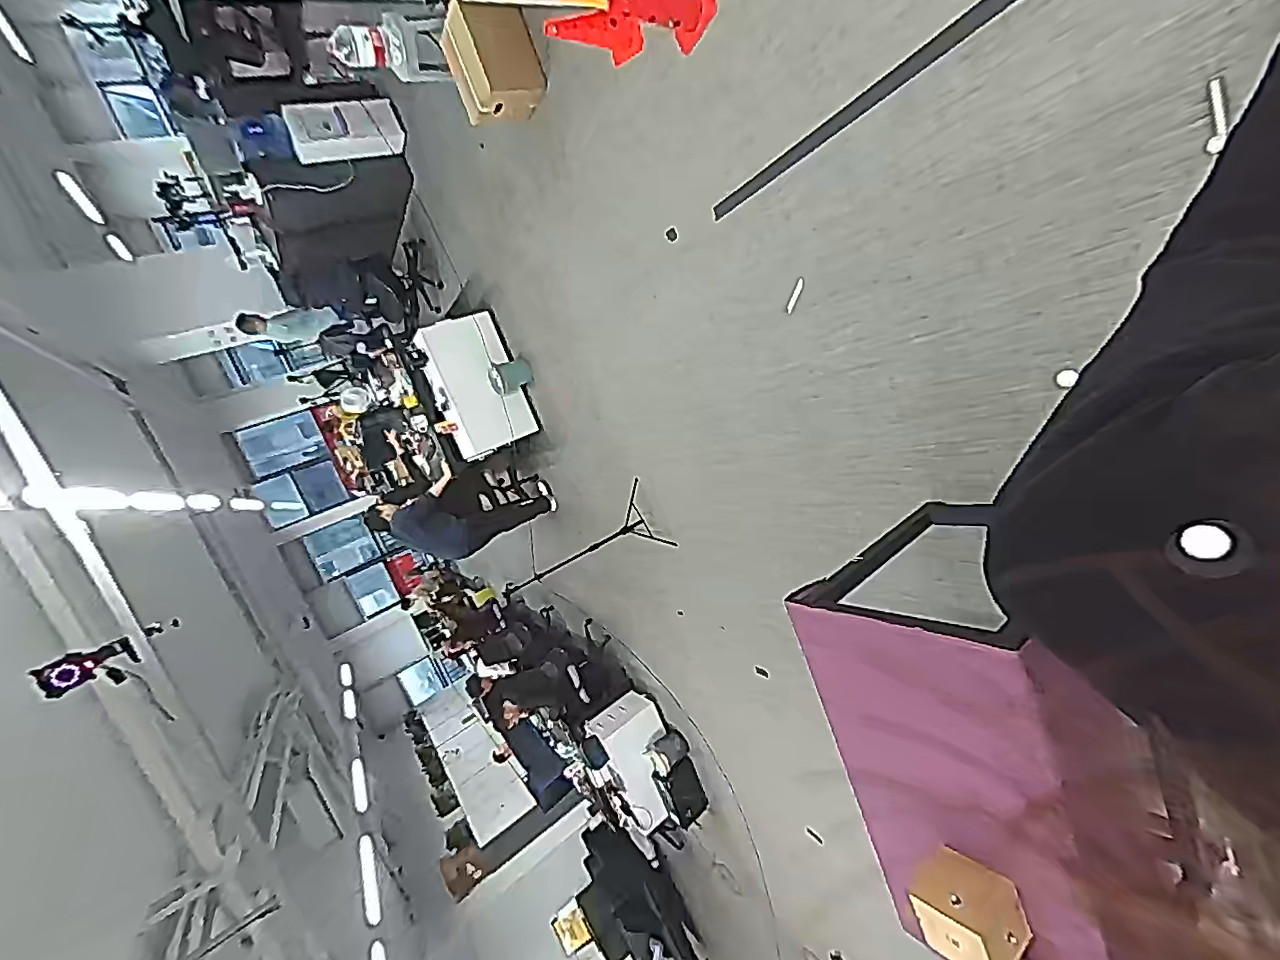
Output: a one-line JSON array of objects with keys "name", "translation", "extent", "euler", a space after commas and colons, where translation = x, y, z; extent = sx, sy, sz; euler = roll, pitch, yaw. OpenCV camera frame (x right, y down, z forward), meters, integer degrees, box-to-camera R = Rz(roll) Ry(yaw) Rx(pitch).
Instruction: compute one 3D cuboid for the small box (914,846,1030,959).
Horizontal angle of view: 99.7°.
[{"name": "small box", "translation": [0.813, 1.047, 1.316], "extent": [0.179, 0.176, 0.168], "euler": [-8, 106, 60]}]
